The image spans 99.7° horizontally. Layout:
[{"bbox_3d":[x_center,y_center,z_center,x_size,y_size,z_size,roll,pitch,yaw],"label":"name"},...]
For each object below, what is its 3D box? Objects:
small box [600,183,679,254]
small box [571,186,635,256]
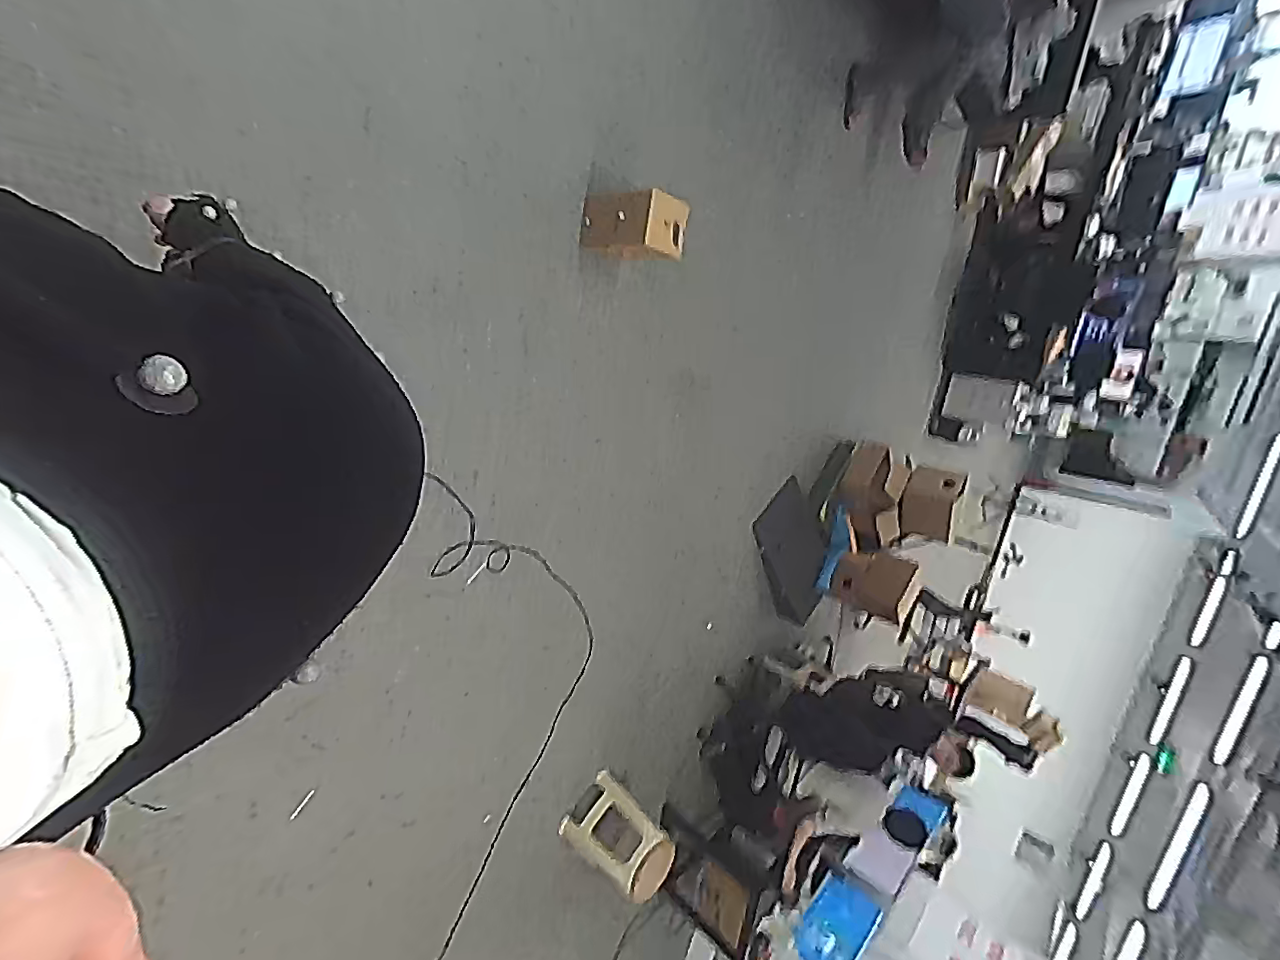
[{"bbox_3d":[-0.003,-0.836,1.743,0.179,0.176,0.168,-4,108,-47],"label":"small box"},{"bbox_3d":[-0.117,-0.881,1.853,0.168,0.176,0.179,-3,108,-48],"label":"small box"}]
